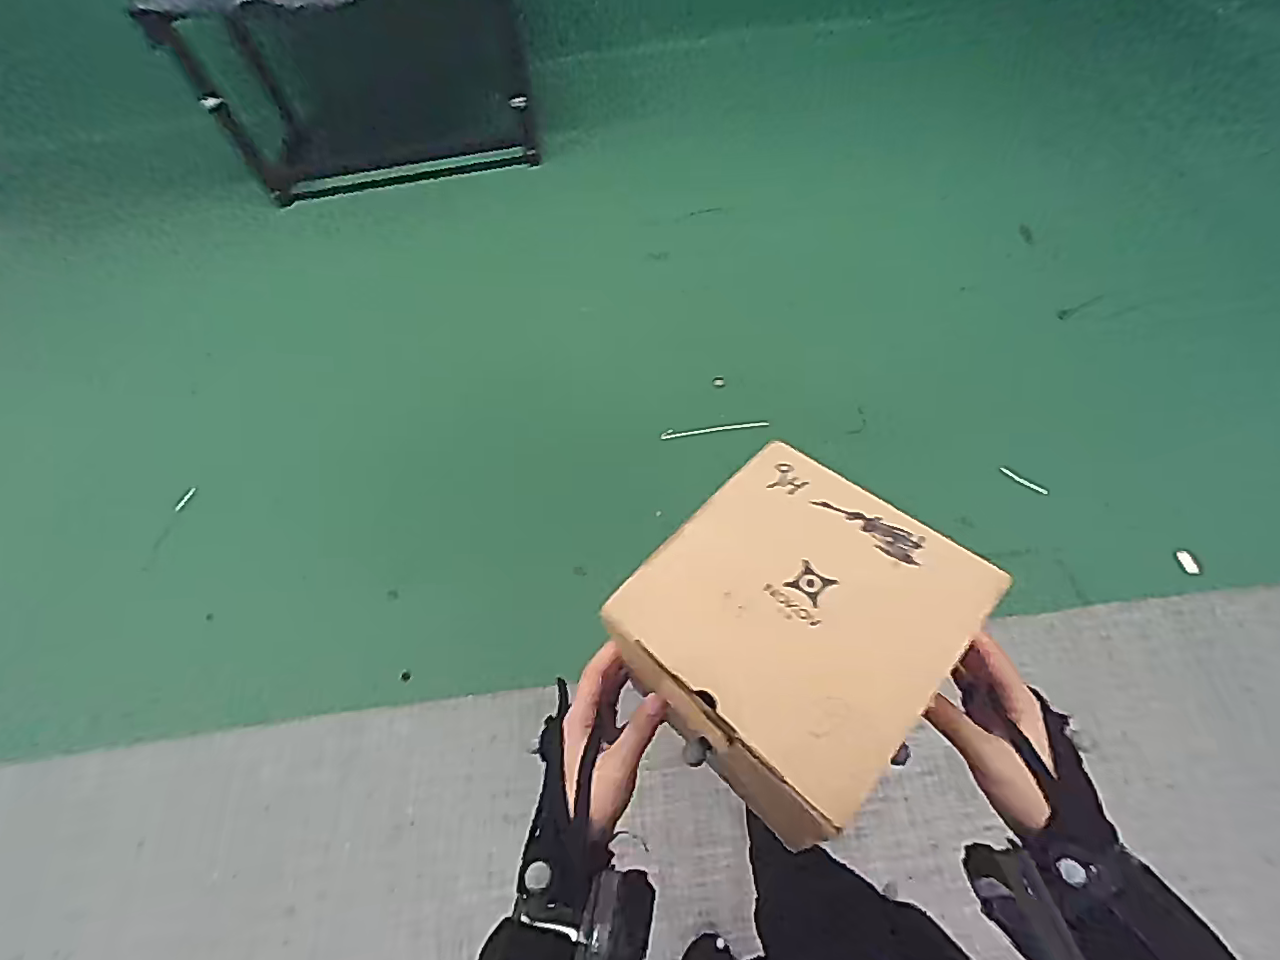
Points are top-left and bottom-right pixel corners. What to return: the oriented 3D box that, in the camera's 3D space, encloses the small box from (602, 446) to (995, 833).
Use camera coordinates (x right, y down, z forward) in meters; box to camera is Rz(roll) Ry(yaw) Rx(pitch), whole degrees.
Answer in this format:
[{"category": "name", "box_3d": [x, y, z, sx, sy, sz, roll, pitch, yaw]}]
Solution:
[{"category": "small box", "box_3d": [0.102, 0.116, 0.386, 0.168, 0.176, 0.179, 36, 67, 29]}]
